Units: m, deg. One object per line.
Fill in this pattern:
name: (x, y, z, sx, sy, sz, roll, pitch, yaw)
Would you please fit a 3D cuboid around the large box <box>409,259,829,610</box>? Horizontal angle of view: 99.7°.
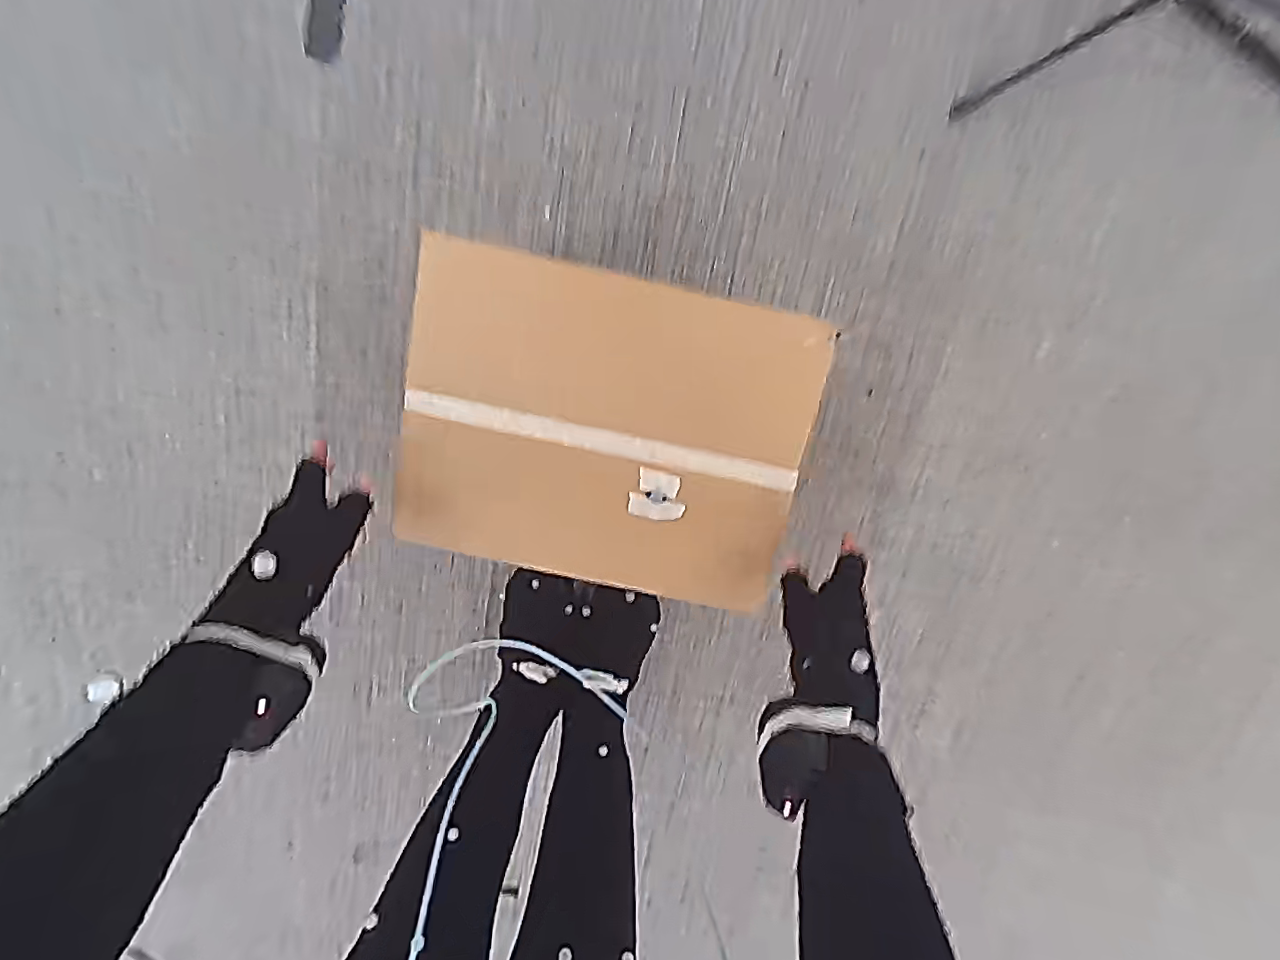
large box: (-0.032, -0.068, 0.711, 0.408, 0.320, 0.320, 12, 104, -2)
